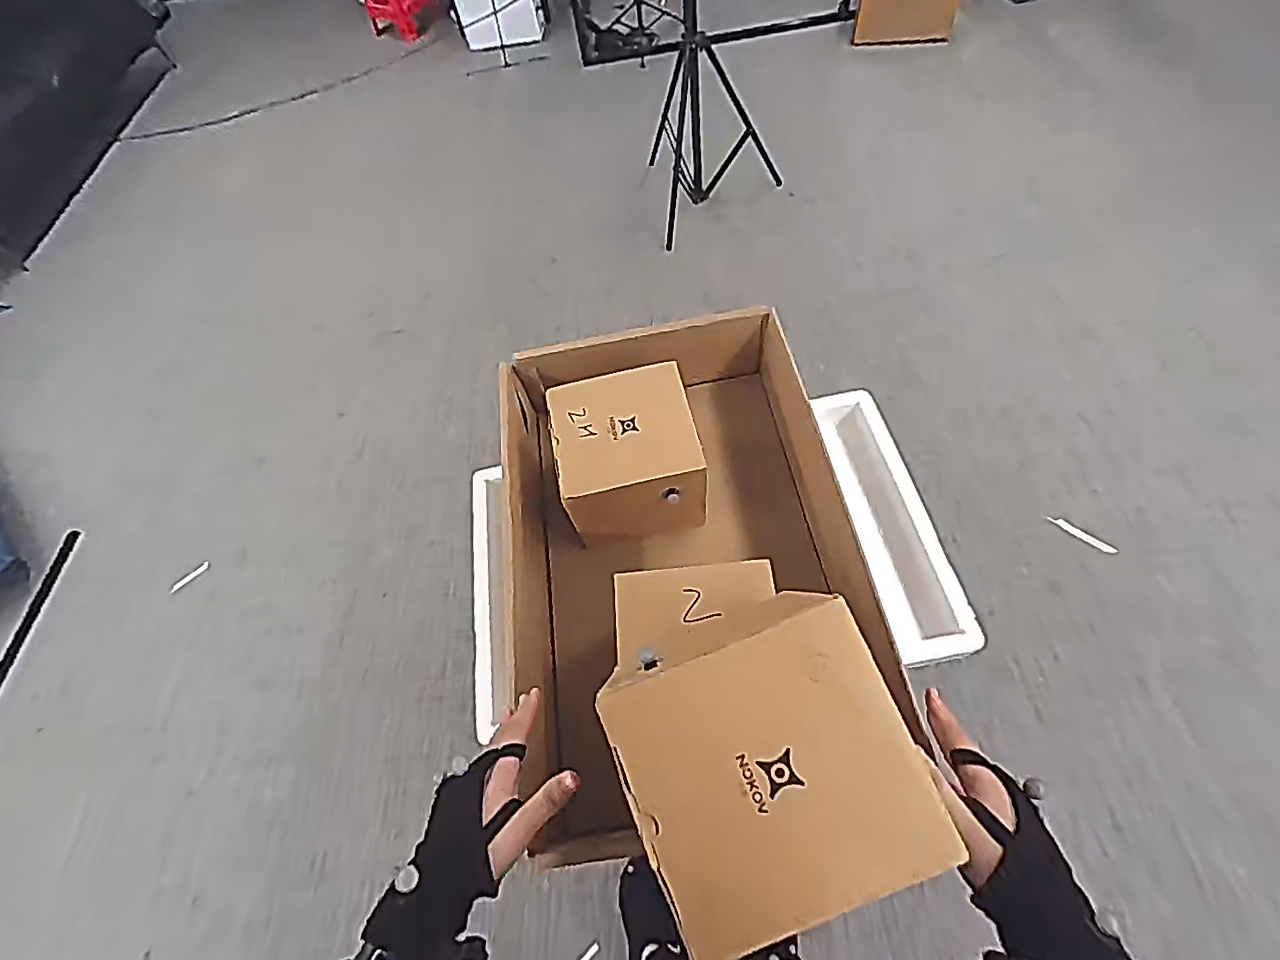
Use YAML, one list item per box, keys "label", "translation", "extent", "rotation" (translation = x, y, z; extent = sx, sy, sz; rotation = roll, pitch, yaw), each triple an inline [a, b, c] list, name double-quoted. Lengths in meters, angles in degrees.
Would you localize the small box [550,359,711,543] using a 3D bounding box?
- label: "small box"
  translation: [-0.011, -0.032, 0.728]
  extent: [0.179, 0.176, 0.168]
  rotation: [-12, 61, -1]
